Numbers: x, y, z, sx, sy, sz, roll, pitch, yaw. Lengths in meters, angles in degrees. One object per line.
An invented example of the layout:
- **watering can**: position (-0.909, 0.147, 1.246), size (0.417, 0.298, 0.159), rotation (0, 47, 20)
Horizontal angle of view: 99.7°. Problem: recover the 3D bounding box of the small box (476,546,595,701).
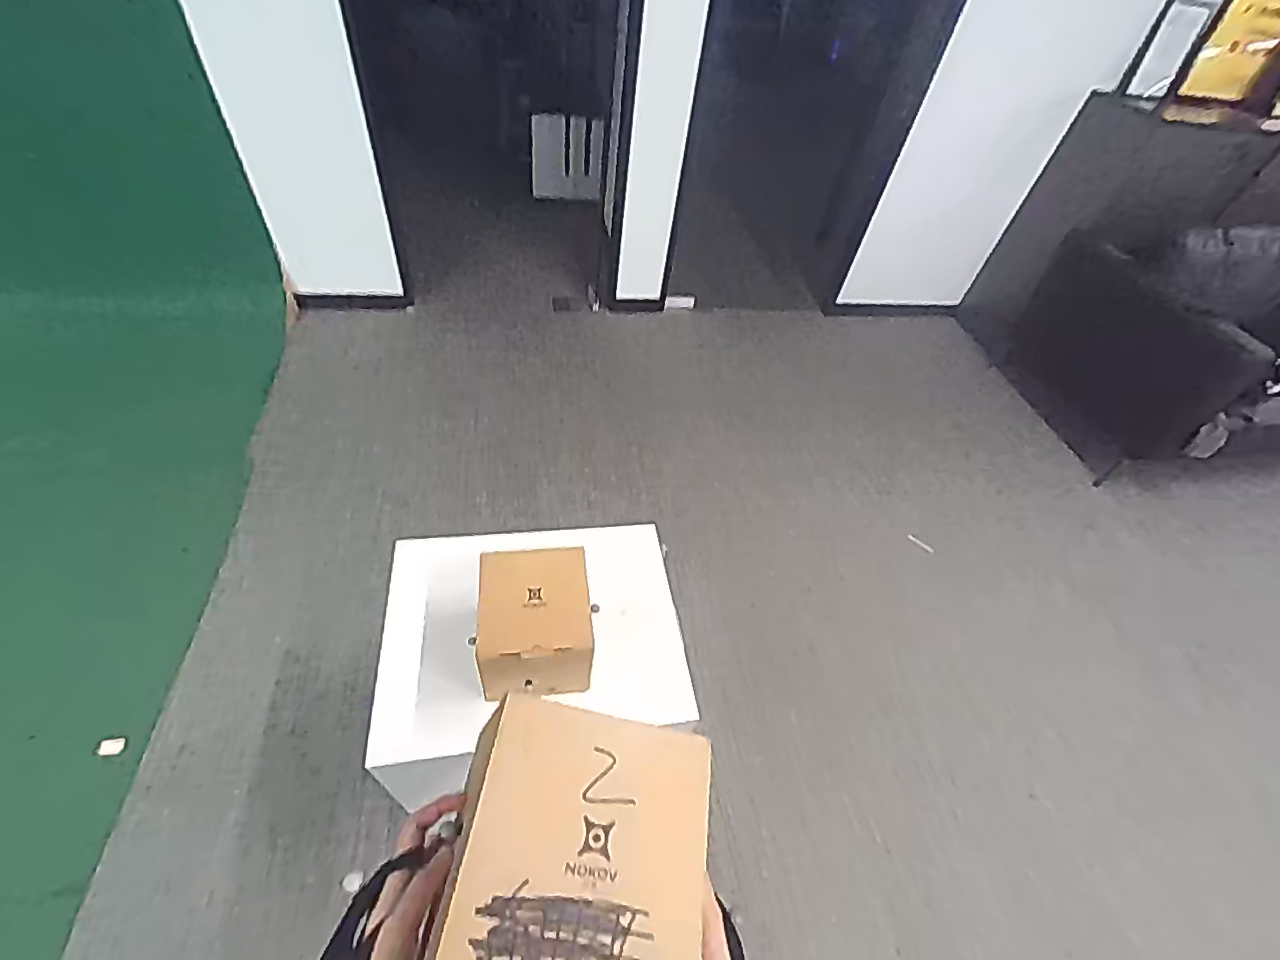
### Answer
- **small box**: position (-0.166, 0.226, 0.858), size (0.168, 0.176, 0.179), rotation (-2, 48, -11)
